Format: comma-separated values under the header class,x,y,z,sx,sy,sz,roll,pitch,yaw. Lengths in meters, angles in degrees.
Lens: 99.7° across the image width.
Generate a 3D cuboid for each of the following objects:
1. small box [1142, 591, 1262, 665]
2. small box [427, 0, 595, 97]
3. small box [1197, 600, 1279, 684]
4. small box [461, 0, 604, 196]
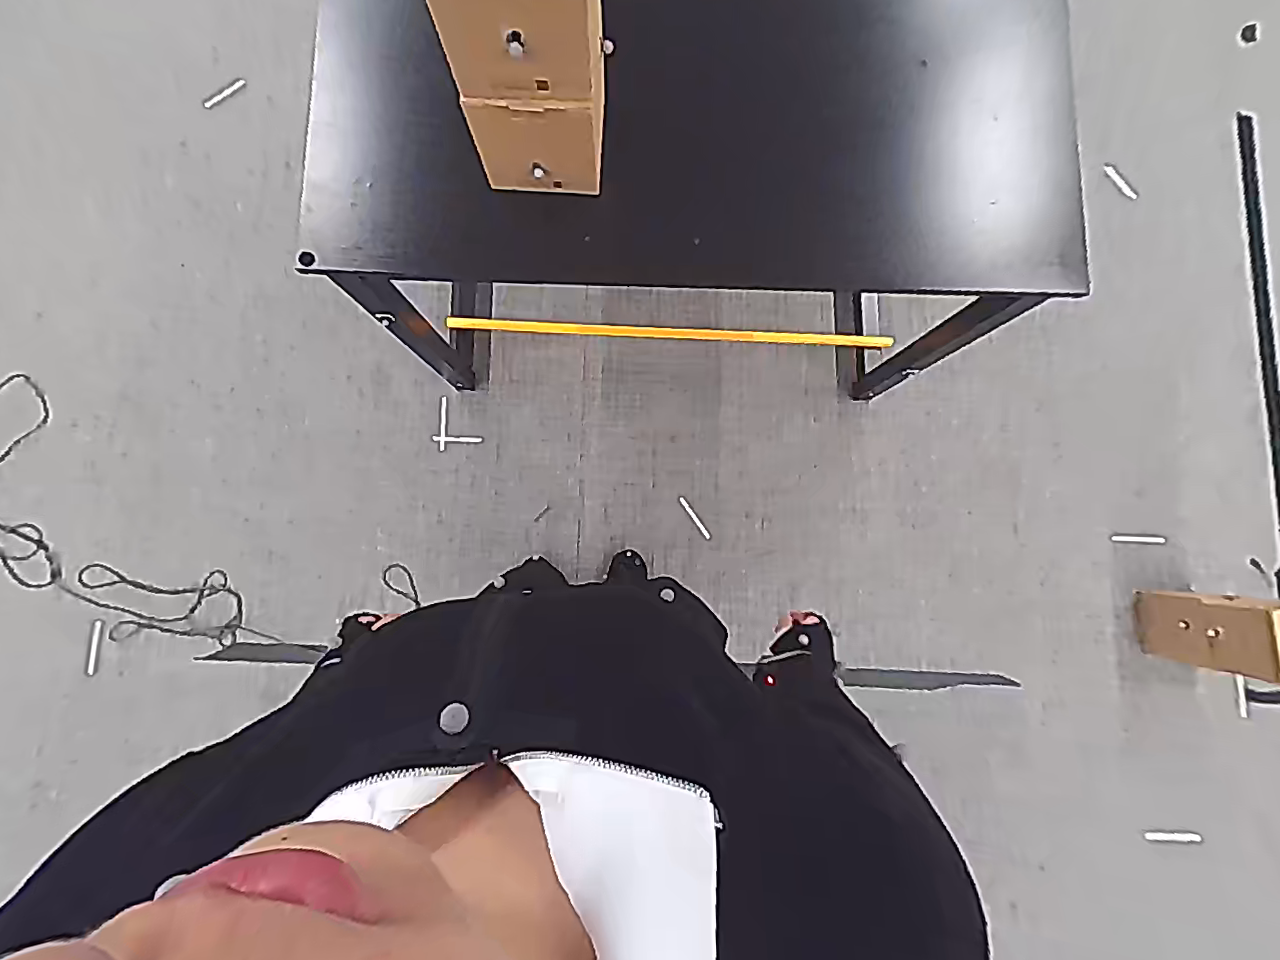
class,x,y,z,sx,sy,sz,roll,pitch,yaw
small box,1.486,0.388,1.433,0.168,0.176,0.179,0,85,-1
small box,-0.137,-0.564,0.596,0.168,0.176,0.179,0,84,-2
small box,1.487,0.374,1.271,0.179,0.176,0.168,-2,83,0
small box,-0.139,-0.536,0.758,0.168,0.176,0.179,3,84,-1
